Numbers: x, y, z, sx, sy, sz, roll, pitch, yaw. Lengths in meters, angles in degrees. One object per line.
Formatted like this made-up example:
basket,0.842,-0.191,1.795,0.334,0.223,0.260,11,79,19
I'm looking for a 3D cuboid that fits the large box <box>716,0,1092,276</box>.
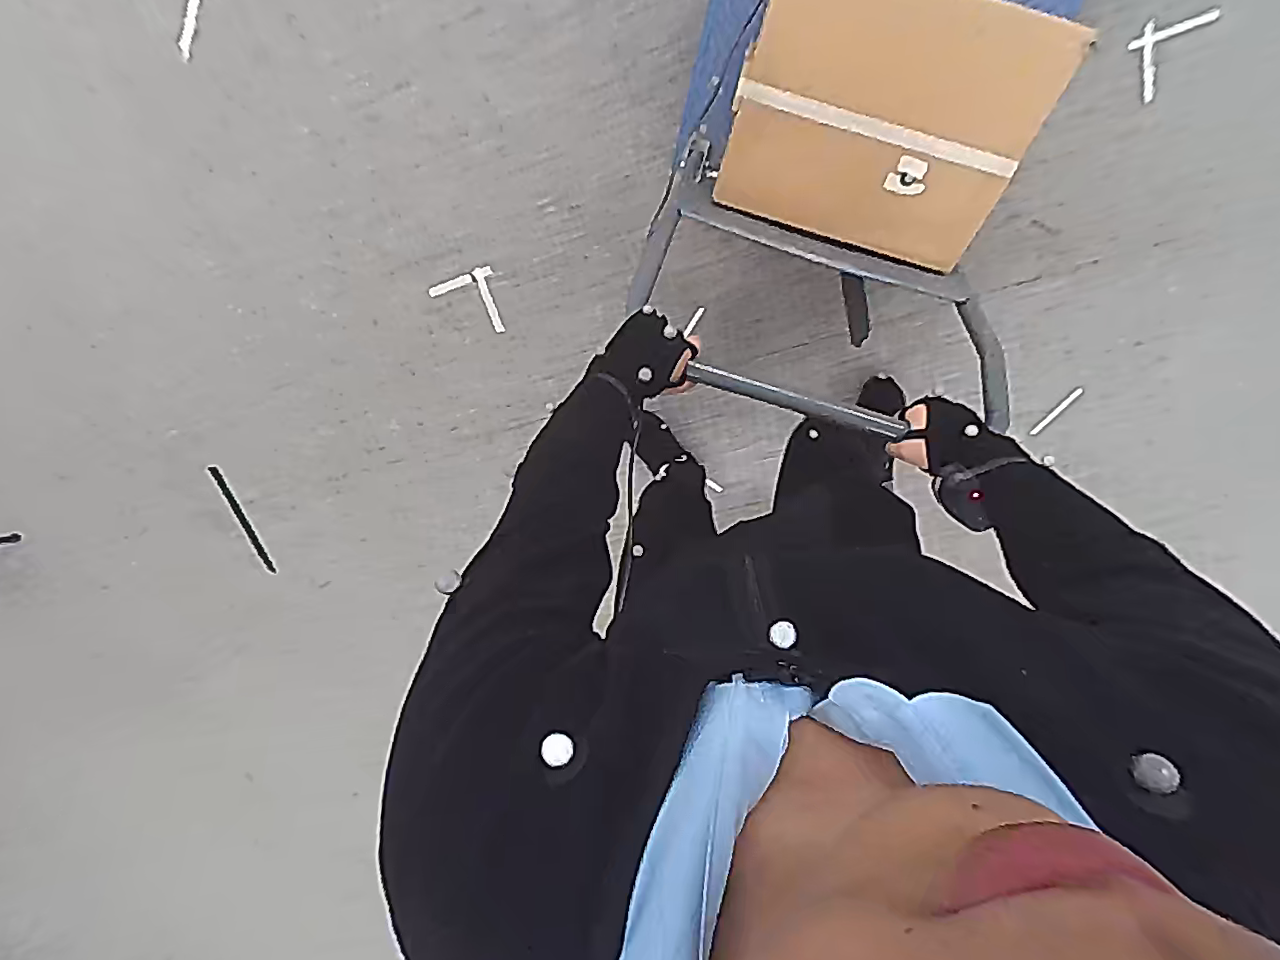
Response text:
large box,0.366,-0.587,0.878,0.408,0.320,0.320,17,133,-1
